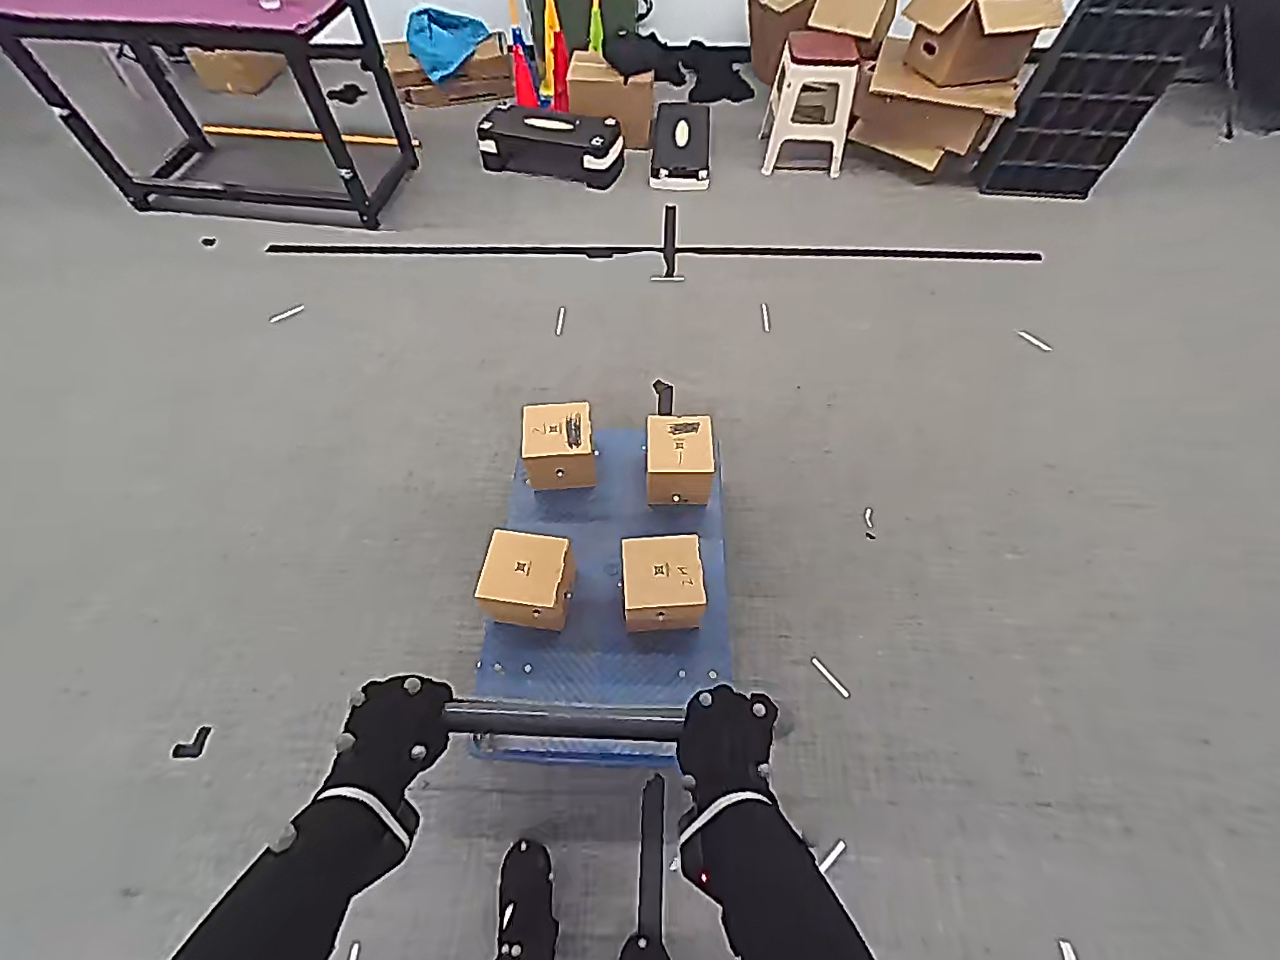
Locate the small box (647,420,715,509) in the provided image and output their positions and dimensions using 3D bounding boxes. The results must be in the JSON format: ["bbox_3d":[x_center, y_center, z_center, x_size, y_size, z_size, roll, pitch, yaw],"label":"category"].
[{"bbox_3d":[0.104,-0.040,1.435,0.168,0.176,0.179,1,59,0],"label":"small box"}]

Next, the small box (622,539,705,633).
[{"bbox_3d":[0.050,0.250,1.256,0.179,0.176,0.168,-3,59,-2],"label":"small box"}]

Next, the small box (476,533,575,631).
[{"bbox_3d":[-0.256,0.242,1.261,0.179,0.176,0.168,8,58,3],"label":"small box"}]
